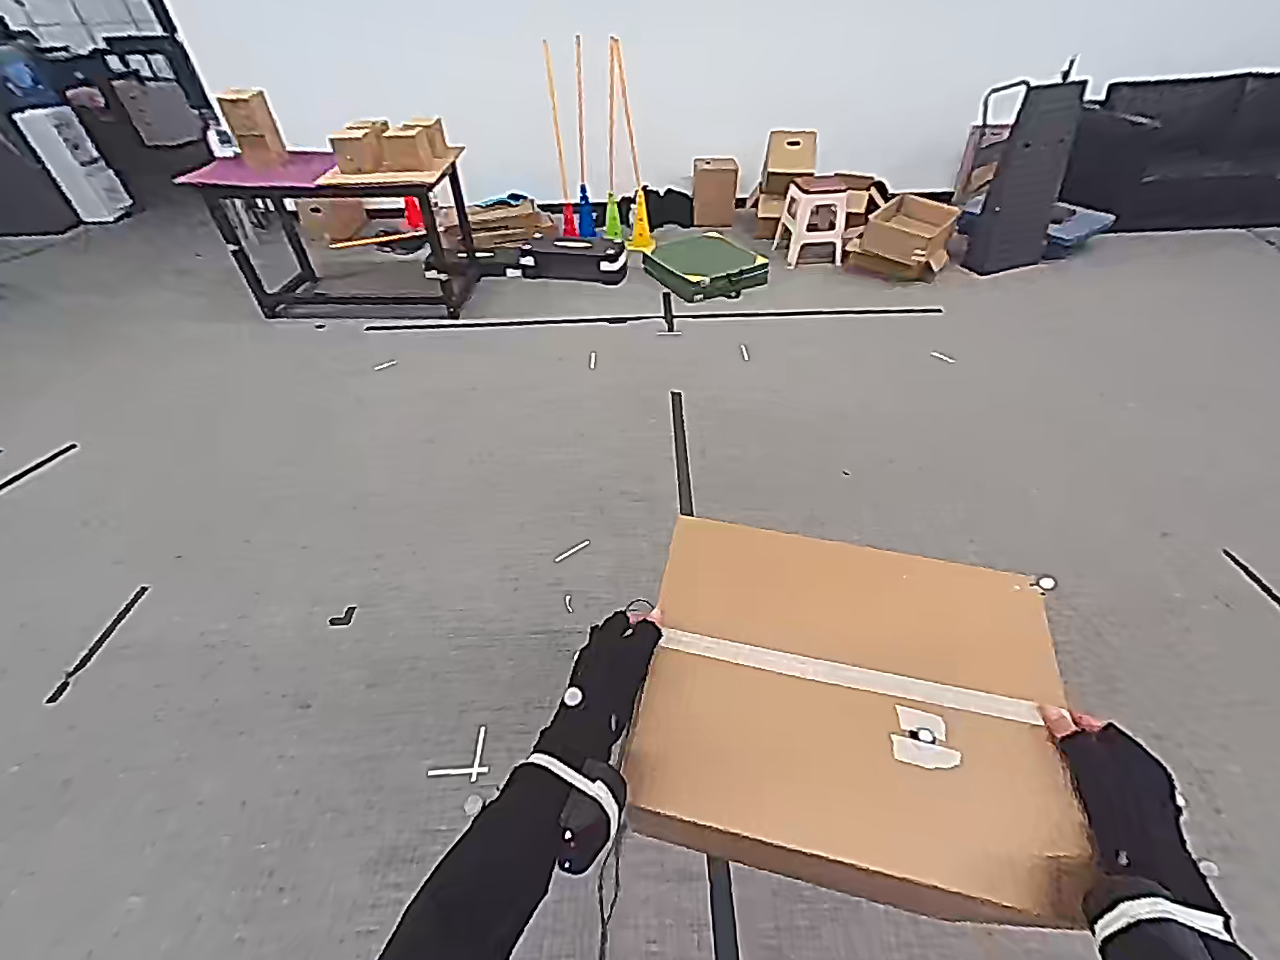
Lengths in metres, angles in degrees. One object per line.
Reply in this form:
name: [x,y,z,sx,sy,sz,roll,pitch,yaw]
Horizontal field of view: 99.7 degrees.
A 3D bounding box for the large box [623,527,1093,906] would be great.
large box: [0.209,0.292,0.672,0.408,0.320,0.320,8,54,9]
